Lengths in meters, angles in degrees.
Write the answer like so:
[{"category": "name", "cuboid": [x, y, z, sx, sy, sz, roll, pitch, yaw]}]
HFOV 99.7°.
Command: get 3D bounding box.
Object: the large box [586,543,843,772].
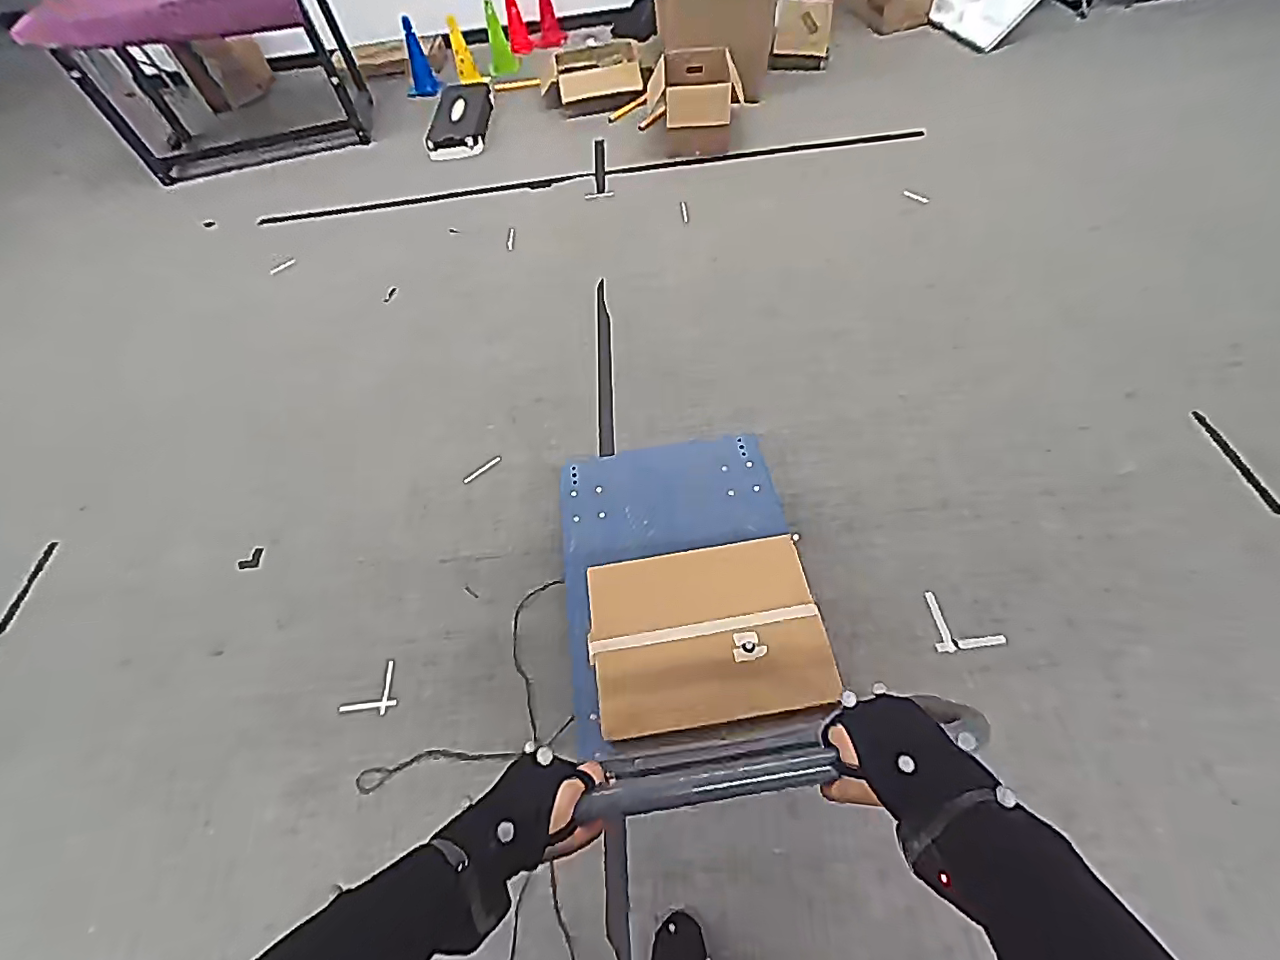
[{"category": "large box", "cuboid": [0.125, 0.363, 1.078, 0.408, 0.320, 0.320, -9, 57, -1]}]
